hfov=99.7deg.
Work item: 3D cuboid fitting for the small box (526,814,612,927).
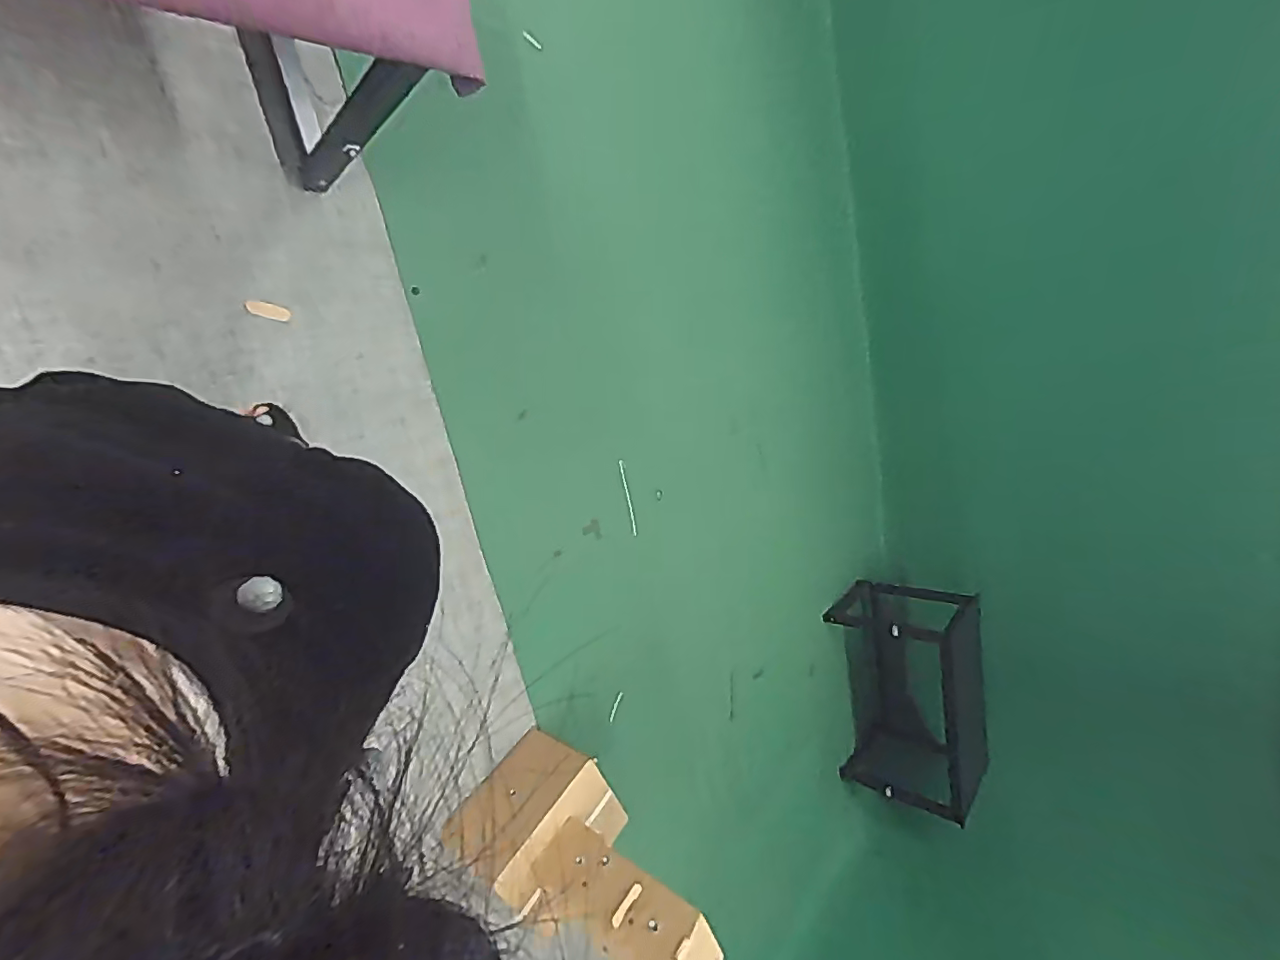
[{"bbox_3d":[-0.183,1.082,1.504,0.179,0.176,0.168,-37,116,-38],"label":"small box"}]

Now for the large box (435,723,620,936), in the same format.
[{"bbox_3d":[-0.342,1.061,1.691,0.408,0.320,0.320,-42,121,-38],"label":"large box"}]

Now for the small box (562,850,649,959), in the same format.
[{"bbox_3d":[-0.071,1.095,1.384,0.168,0.176,0.179,-35,115,-39],"label":"small box"}]

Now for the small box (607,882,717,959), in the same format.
[{"bbox_3d":[0.050,1.098,1.273,0.168,0.176,0.179,-37,115,-38],"label":"small box"}]
